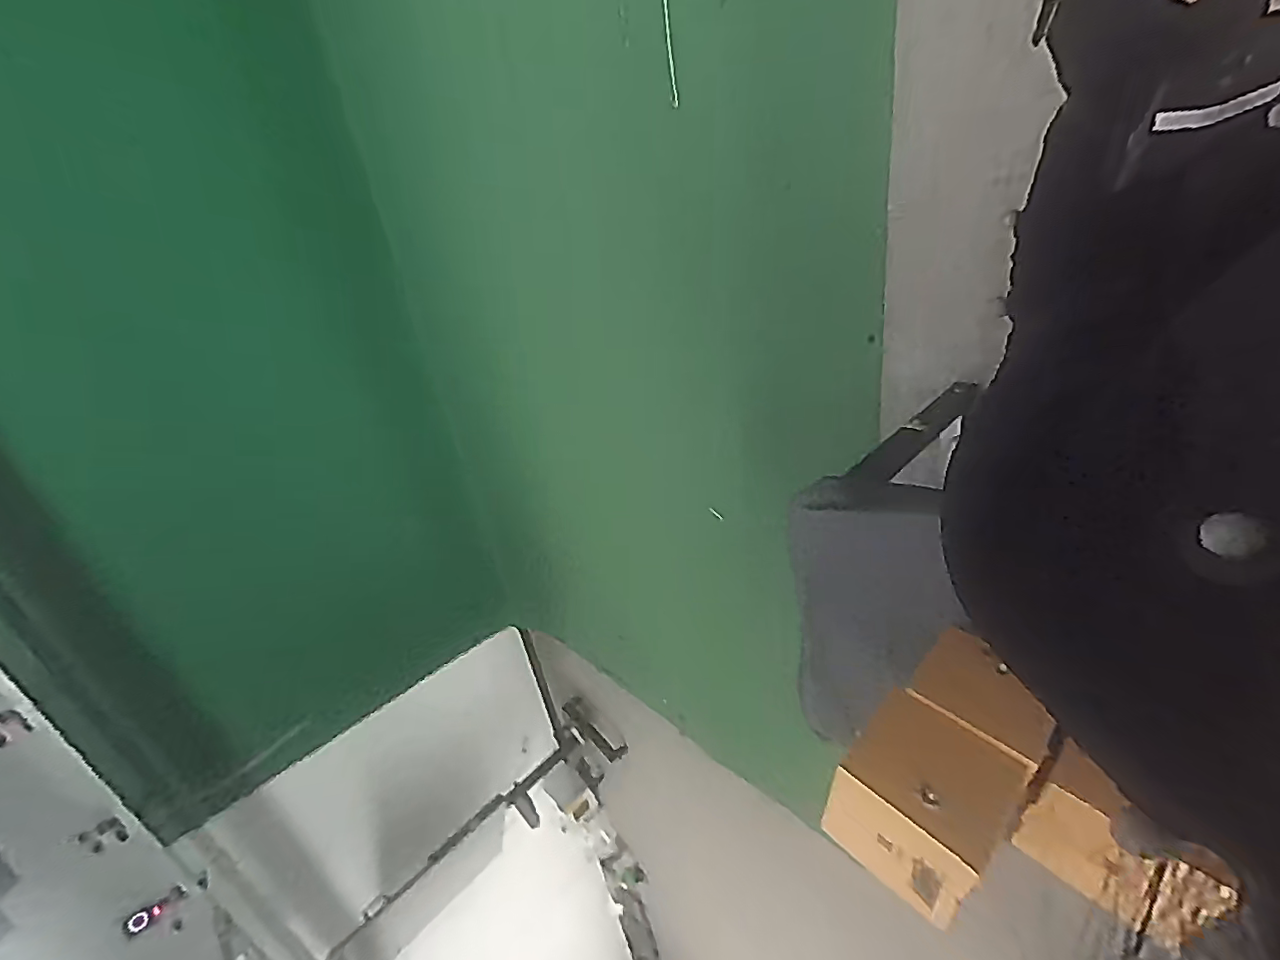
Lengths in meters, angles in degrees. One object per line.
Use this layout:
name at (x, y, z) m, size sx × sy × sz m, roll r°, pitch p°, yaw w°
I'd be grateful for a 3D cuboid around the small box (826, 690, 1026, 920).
small box at (0.386, 0.429, 0.738) m, size 0.179 × 0.176 × 0.168 m, roll 29°, pitch 134°, yaw 39°
